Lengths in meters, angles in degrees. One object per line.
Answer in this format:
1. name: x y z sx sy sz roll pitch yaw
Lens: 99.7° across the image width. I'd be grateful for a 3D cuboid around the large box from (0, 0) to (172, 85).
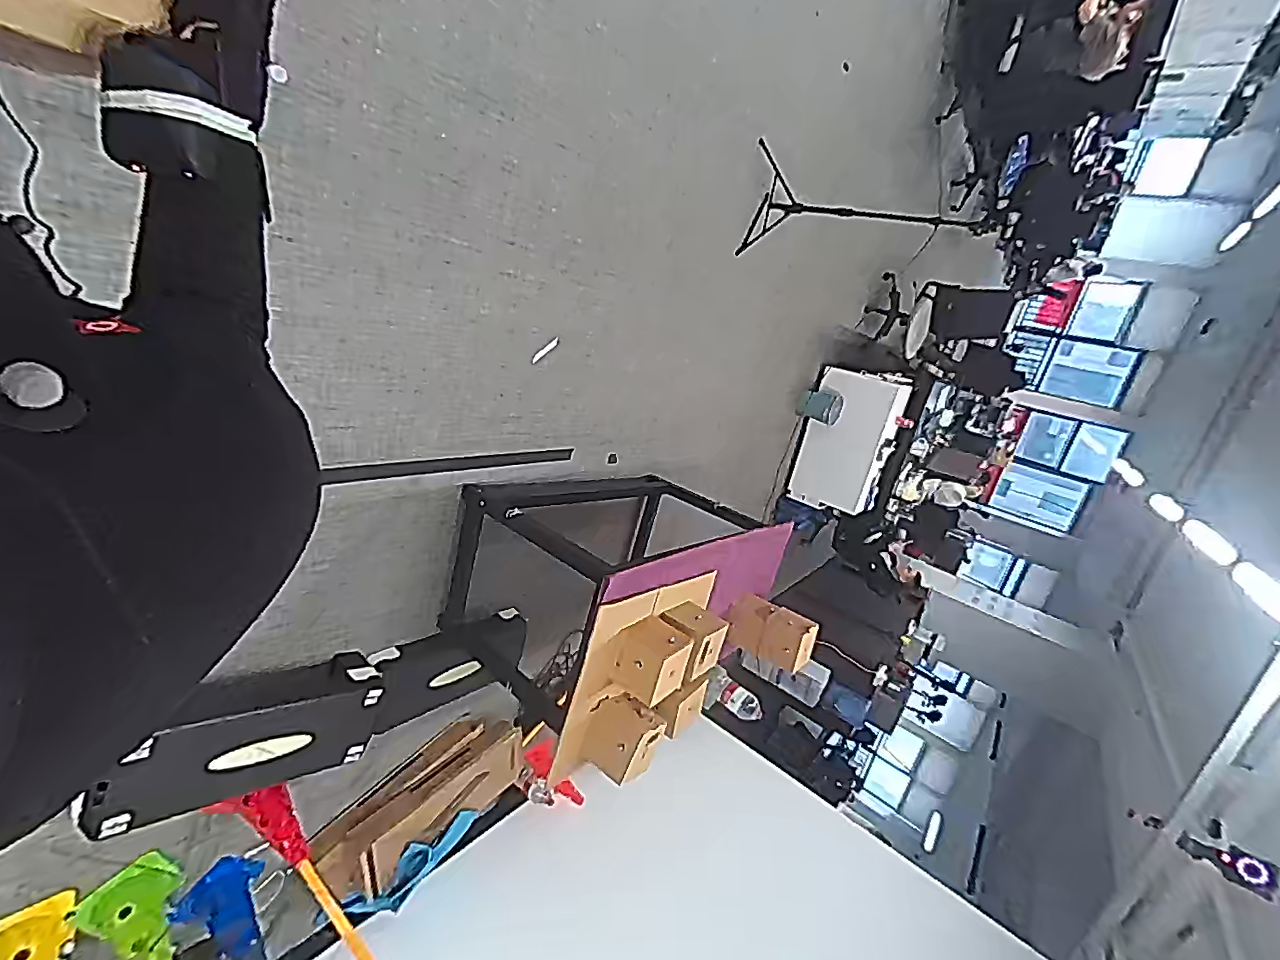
1. large box: -0.520 -0.440 0.235 0.408 0.320 0.320 -15 126 -56
